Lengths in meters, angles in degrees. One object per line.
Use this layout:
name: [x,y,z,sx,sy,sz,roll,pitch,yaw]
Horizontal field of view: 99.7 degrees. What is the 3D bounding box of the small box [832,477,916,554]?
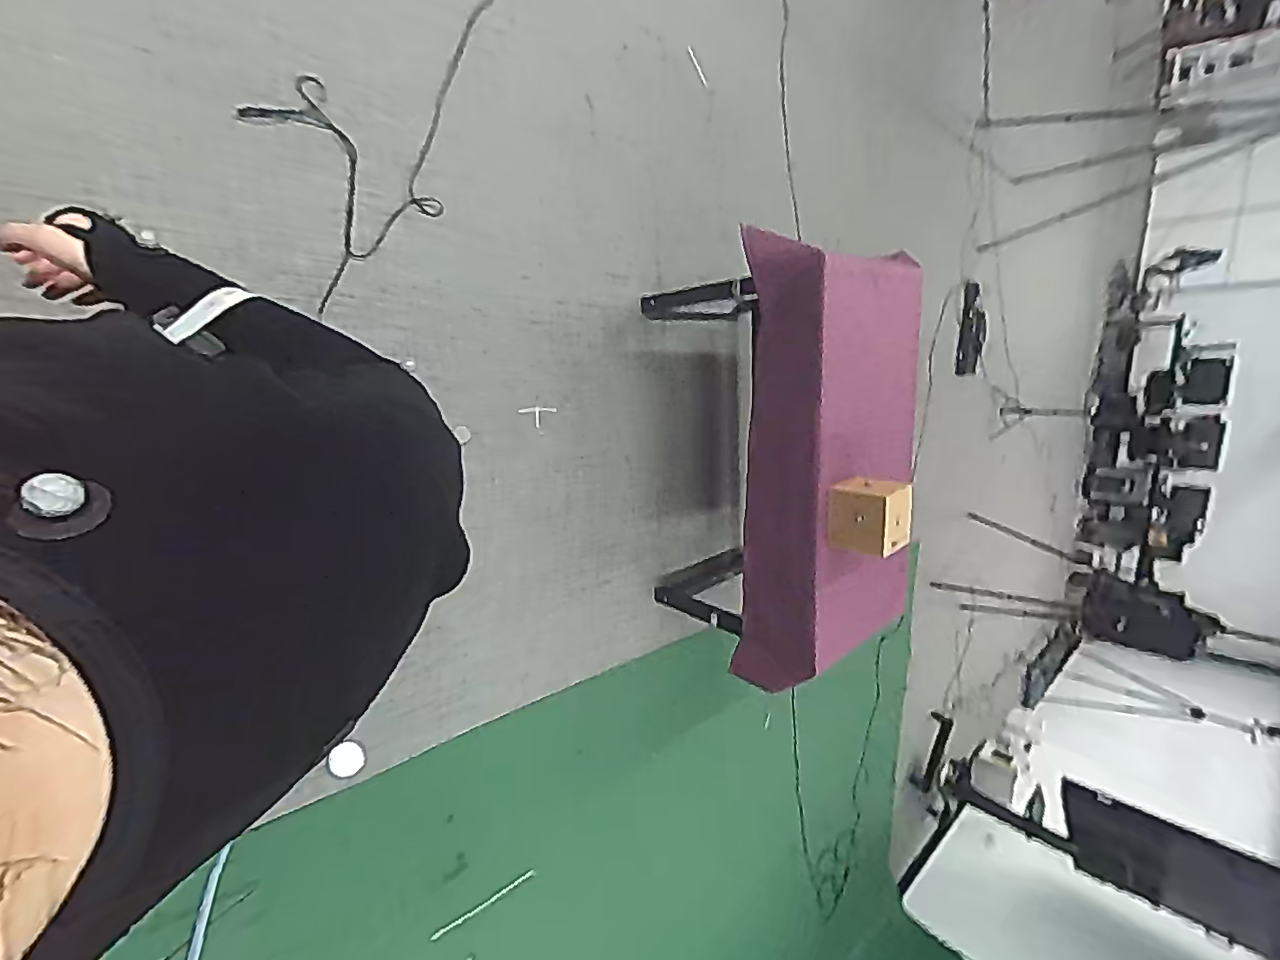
small box: [0.664,0.091,1.538,0.168,0.176,0.179,-15,106,-39]
